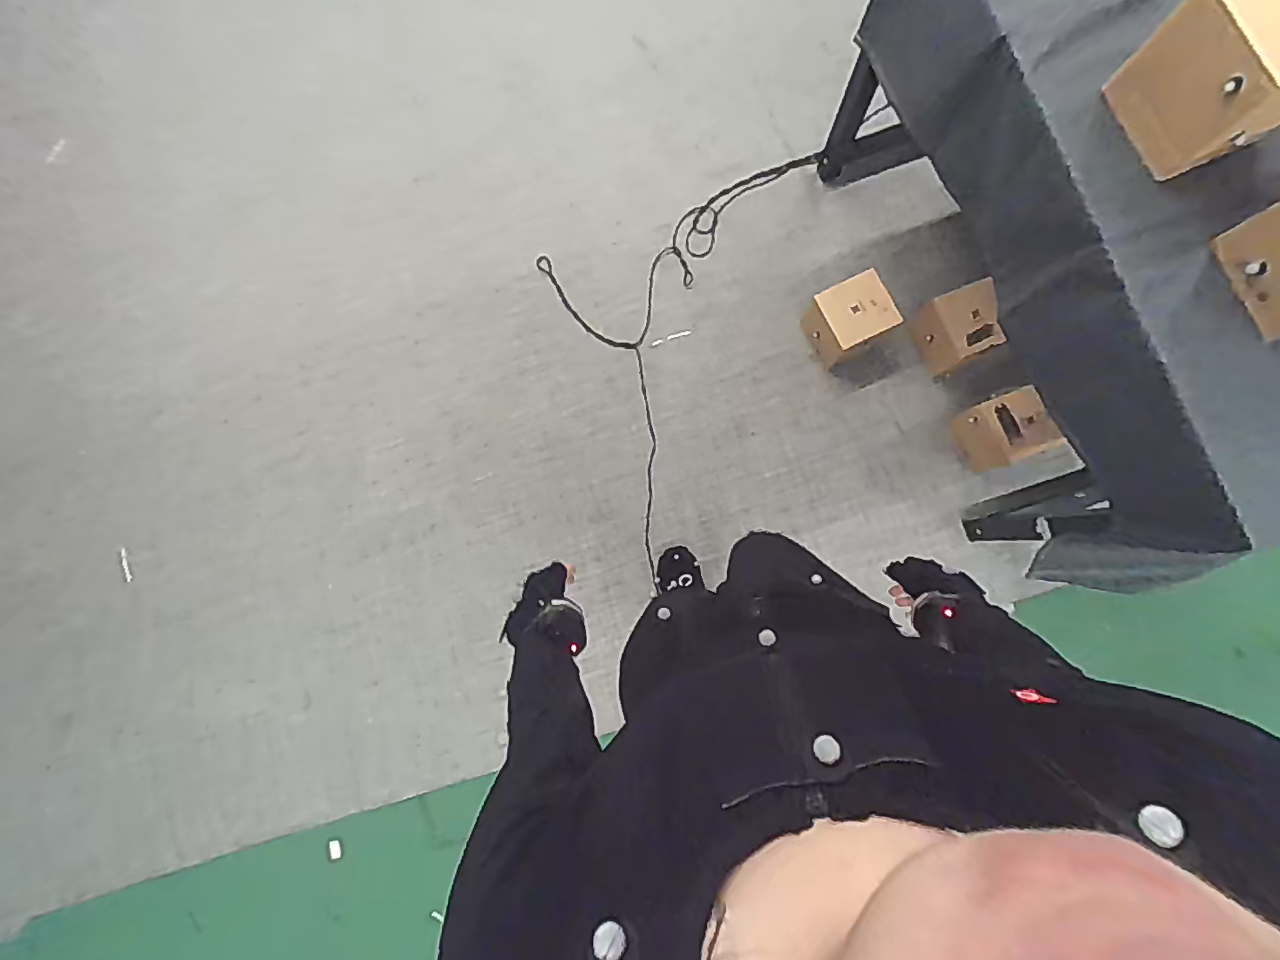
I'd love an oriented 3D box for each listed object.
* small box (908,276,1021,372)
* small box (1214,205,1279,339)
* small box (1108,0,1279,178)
[{"bbox_3d":[0.855,-0.403,1.441,0.168,0.176,0.179,-21,82,1],"label":"small box"},{"bbox_3d":[0.930,-0.309,0.696,0.179,0.176,0.168,-21,82,1],"label":"small box"},{"bbox_3d":[0.803,-0.559,0.732,0.168,0.176,0.179,-23,83,0],"label":"small box"}]
